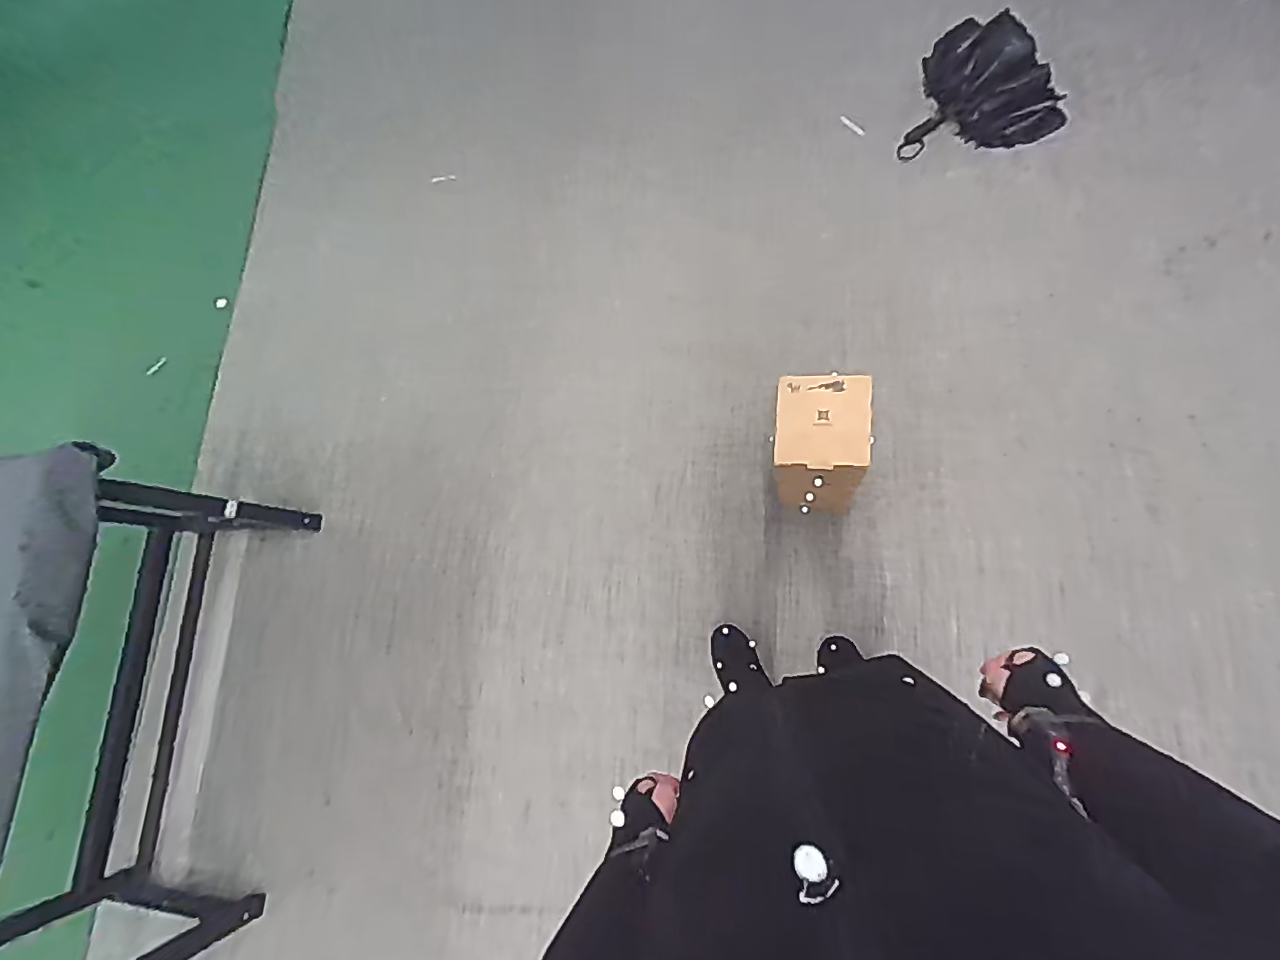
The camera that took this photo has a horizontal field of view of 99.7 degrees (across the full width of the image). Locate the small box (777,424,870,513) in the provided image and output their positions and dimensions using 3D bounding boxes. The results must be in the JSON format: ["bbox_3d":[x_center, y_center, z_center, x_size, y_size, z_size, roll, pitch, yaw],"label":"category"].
[{"bbox_3d":[0.407,-0.037,1.222,0.168,0.176,0.179,13,81,18],"label":"small box"}]

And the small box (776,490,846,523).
[{"bbox_3d":[0.447,-0.001,1.377,0.168,0.176,0.179,12,81,18],"label":"small box"}]

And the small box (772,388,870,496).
[{"bbox_3d":[0.355,-0.070,1.071,0.168,0.176,0.179,4,78,16],"label":"small box"}]
